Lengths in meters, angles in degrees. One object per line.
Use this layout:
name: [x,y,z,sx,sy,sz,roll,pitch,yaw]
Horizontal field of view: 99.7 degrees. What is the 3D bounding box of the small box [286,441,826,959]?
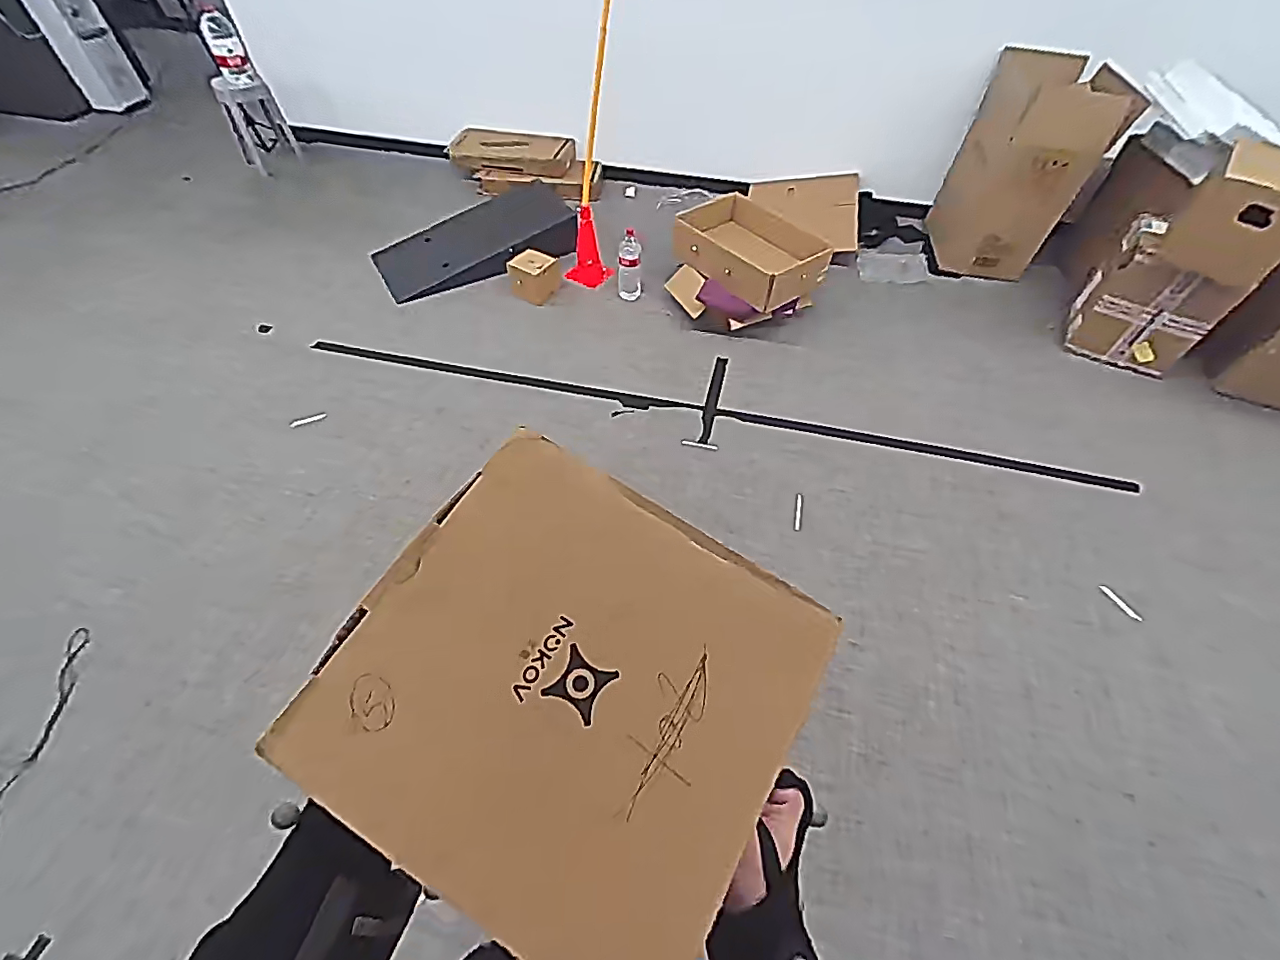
small box: [-0.035,0.115,0.305,0.179,0.176,0.168,31,68,7]
